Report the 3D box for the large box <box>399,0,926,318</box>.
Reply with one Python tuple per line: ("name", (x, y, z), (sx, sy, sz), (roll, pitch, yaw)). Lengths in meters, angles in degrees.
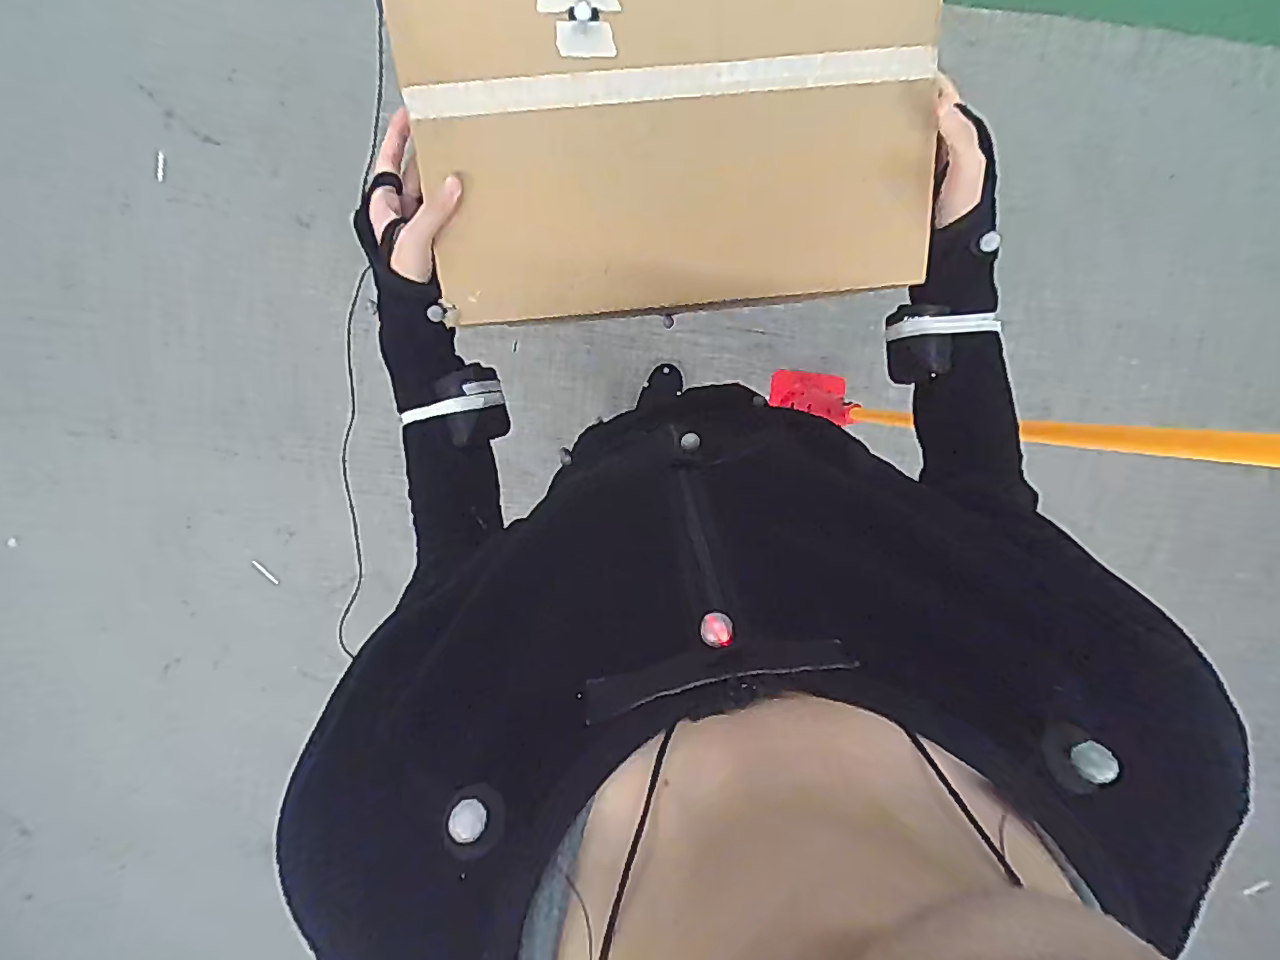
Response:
("large box", (0.018, -0.348, 0.565), (0.408, 0.320, 0.320), (-5, 107, -2))
